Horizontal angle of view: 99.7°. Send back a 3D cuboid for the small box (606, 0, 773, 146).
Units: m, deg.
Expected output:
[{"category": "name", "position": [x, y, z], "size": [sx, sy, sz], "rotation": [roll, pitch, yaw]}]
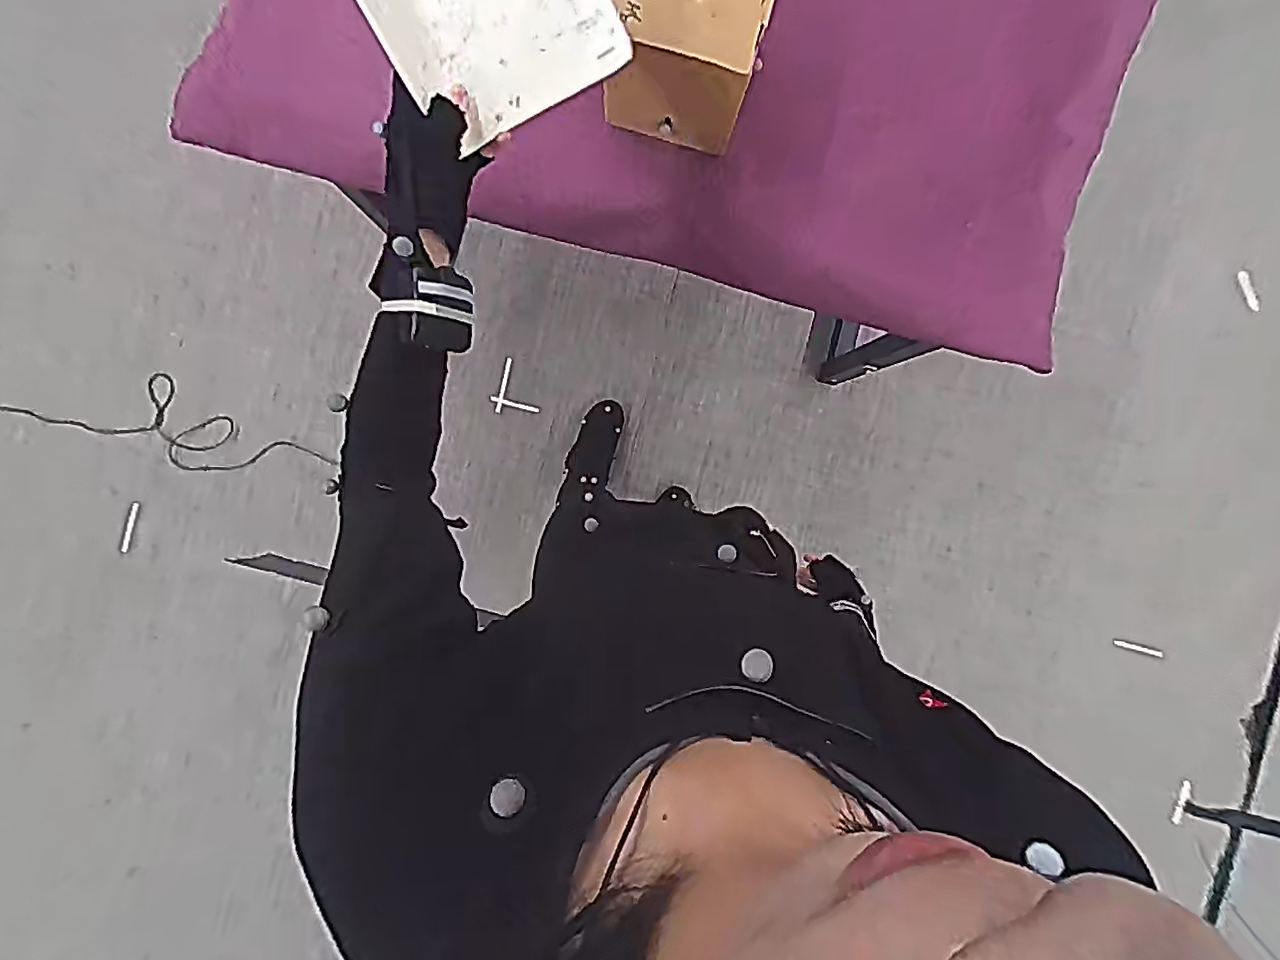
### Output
[{"category": "small box", "position": [0.061, -0.561, 0.680], "size": [0.179, 0.176, 0.168], "rotation": [14, 91, -3]}]
